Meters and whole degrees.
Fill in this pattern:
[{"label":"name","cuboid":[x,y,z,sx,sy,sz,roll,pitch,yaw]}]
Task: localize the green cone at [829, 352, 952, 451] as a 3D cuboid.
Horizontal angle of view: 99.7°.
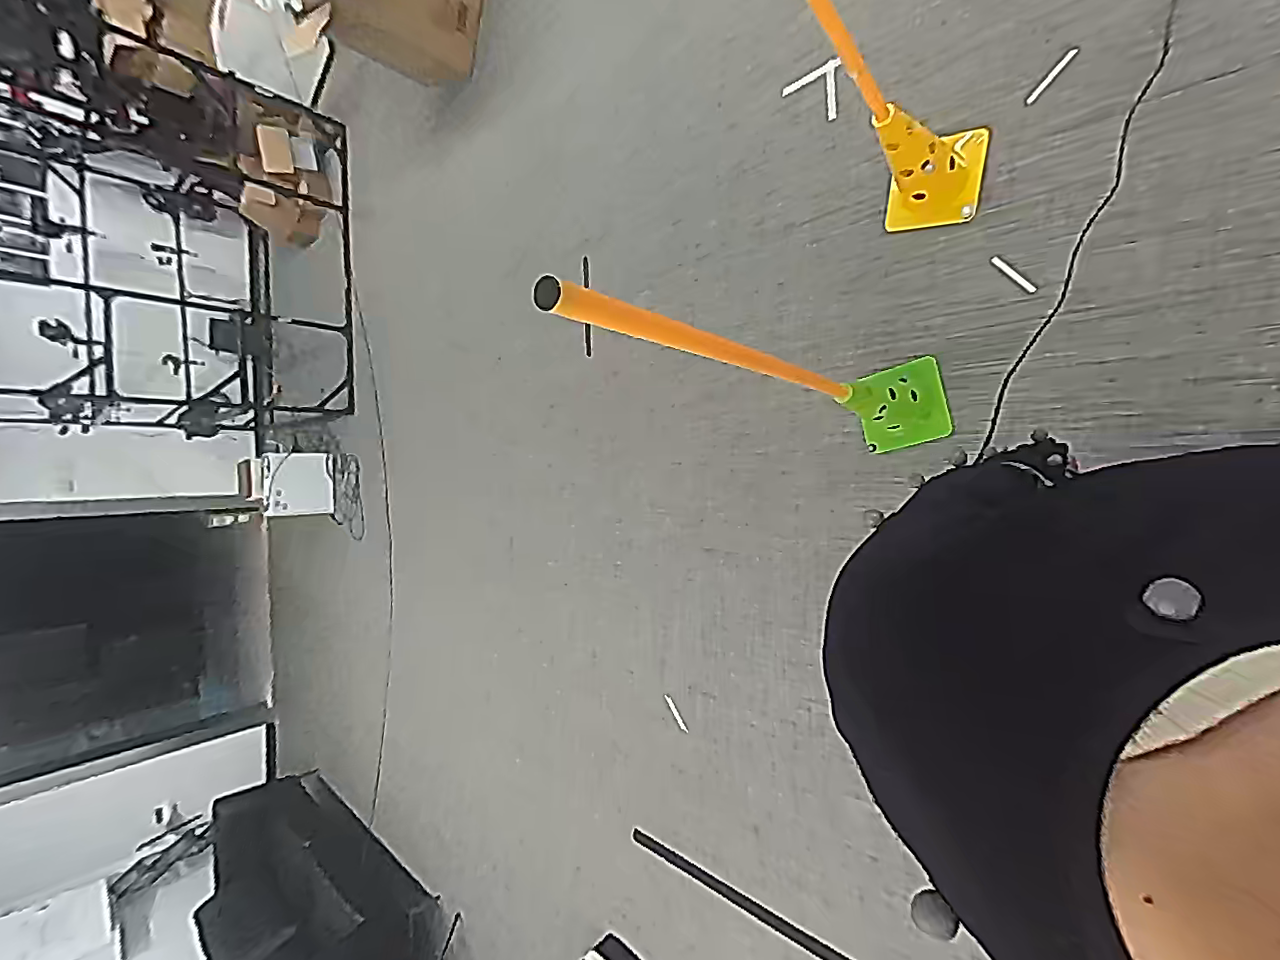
[{"label":"green cone","cuboid":[0.517,-0.185,1.189,0.200,0.368,0.202,-18,78,42]}]
